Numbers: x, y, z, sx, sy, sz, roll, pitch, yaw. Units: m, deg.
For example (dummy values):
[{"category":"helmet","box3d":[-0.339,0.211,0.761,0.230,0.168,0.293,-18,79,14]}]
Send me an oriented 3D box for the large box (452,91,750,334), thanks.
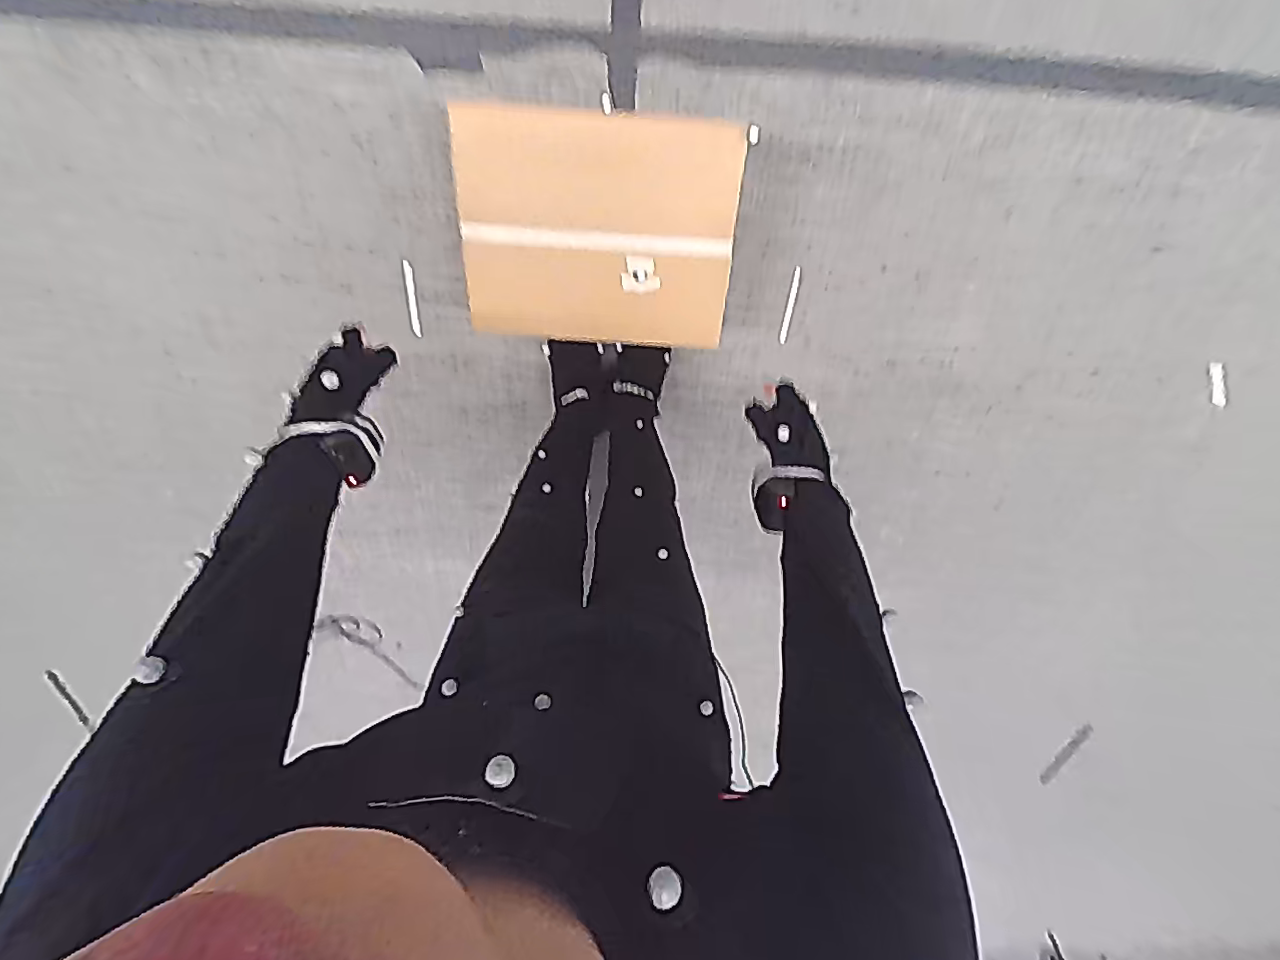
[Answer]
[{"category":"large box","box3d":[-0.061,-0.454,0.919,0.408,0.320,0.320,2,125,-3]}]
